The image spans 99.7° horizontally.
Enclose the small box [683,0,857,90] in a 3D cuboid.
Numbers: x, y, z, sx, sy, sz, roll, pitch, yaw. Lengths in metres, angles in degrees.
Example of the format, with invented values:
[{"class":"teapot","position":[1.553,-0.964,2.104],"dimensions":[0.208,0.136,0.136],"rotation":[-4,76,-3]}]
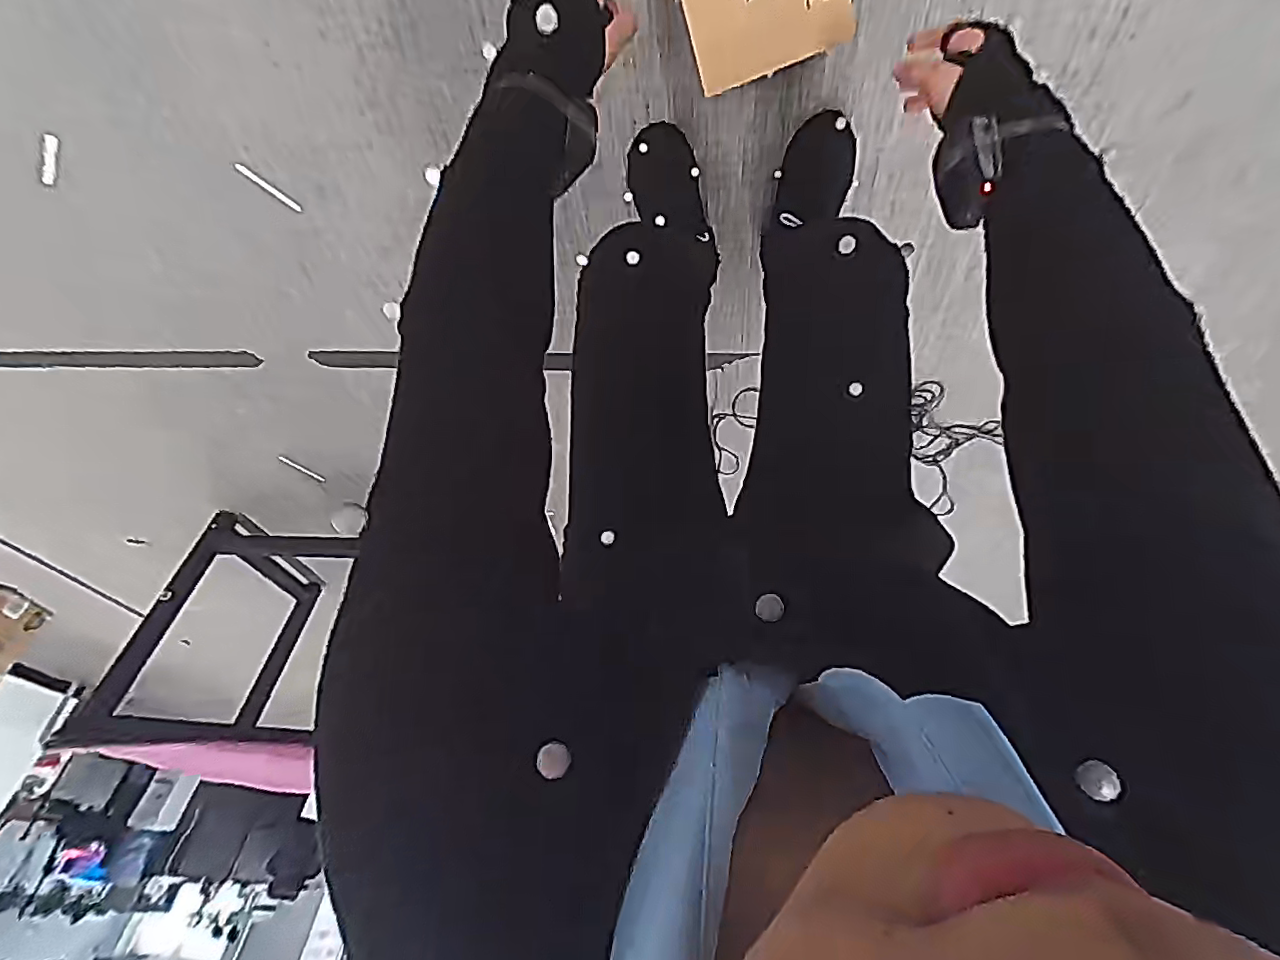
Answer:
[{"class":"small box","position":[0.139,-0.591,0.616],"dimensions":[0.179,0.176,0.168],"rotation":[-10,138,20]}]
